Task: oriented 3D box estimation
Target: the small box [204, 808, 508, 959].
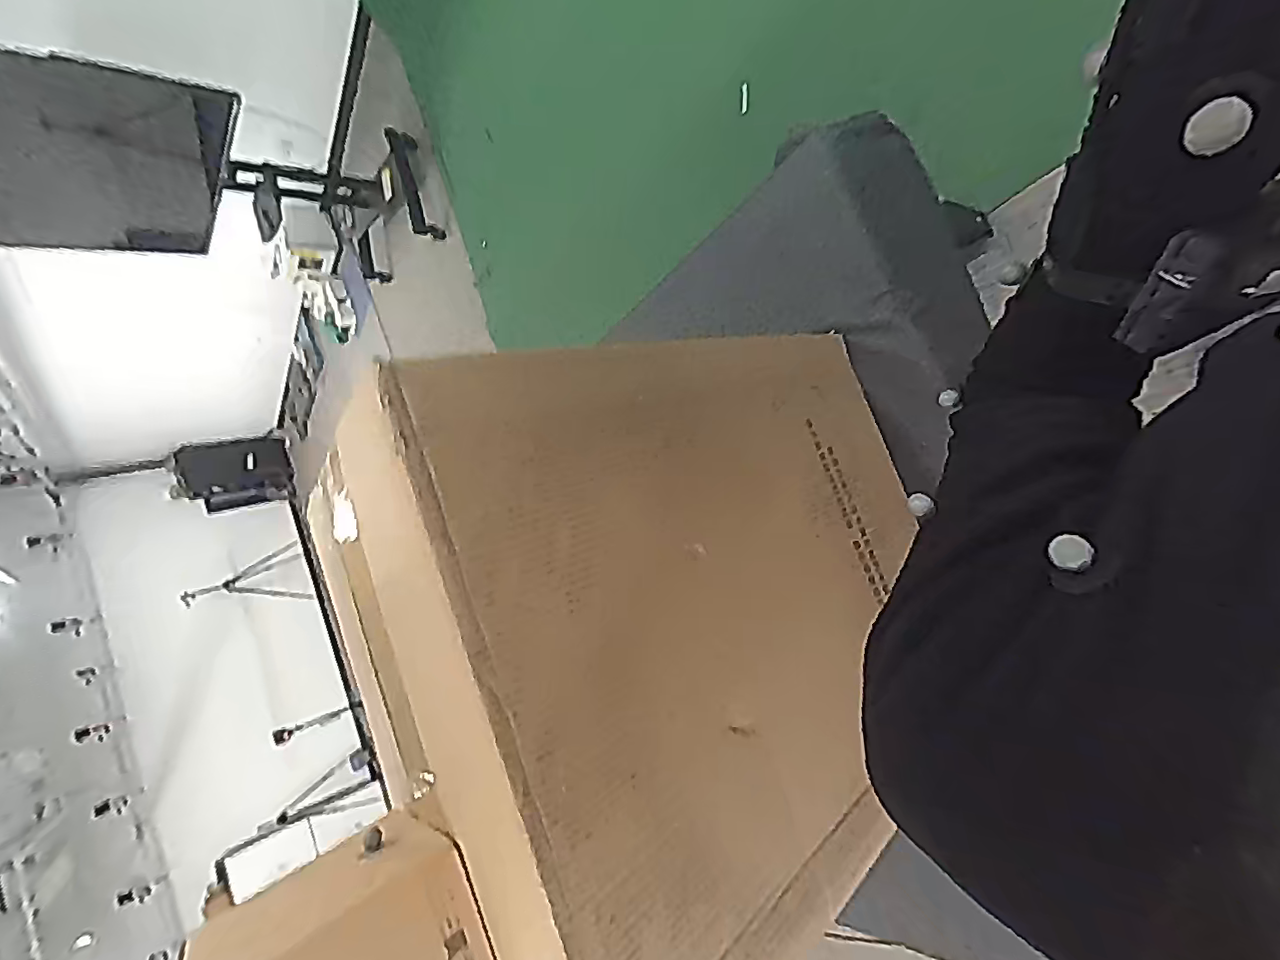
[{"bbox_3d":[-0.209,0.386,0.415,0.179,0.176,0.168,-29,79,49],"label":"small box"}]
